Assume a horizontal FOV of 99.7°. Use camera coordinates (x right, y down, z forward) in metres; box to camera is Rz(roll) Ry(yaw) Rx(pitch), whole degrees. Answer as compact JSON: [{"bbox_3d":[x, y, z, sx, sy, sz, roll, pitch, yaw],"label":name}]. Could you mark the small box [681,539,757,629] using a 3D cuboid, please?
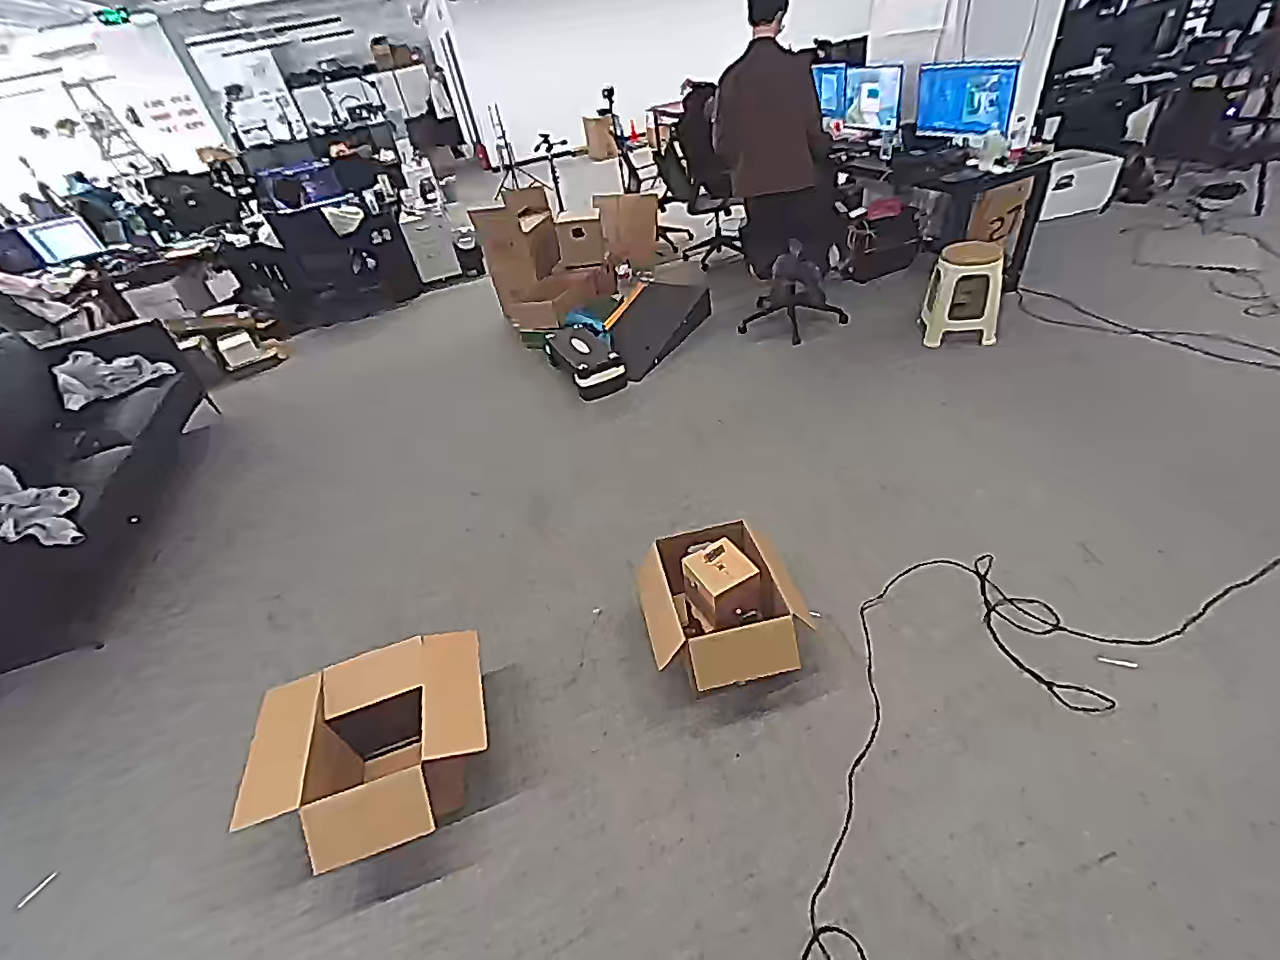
[{"bbox_3d":[0.243,0.320,1.655,0.168,0.176,0.179,-23,39,-14],"label":"small box"}]
